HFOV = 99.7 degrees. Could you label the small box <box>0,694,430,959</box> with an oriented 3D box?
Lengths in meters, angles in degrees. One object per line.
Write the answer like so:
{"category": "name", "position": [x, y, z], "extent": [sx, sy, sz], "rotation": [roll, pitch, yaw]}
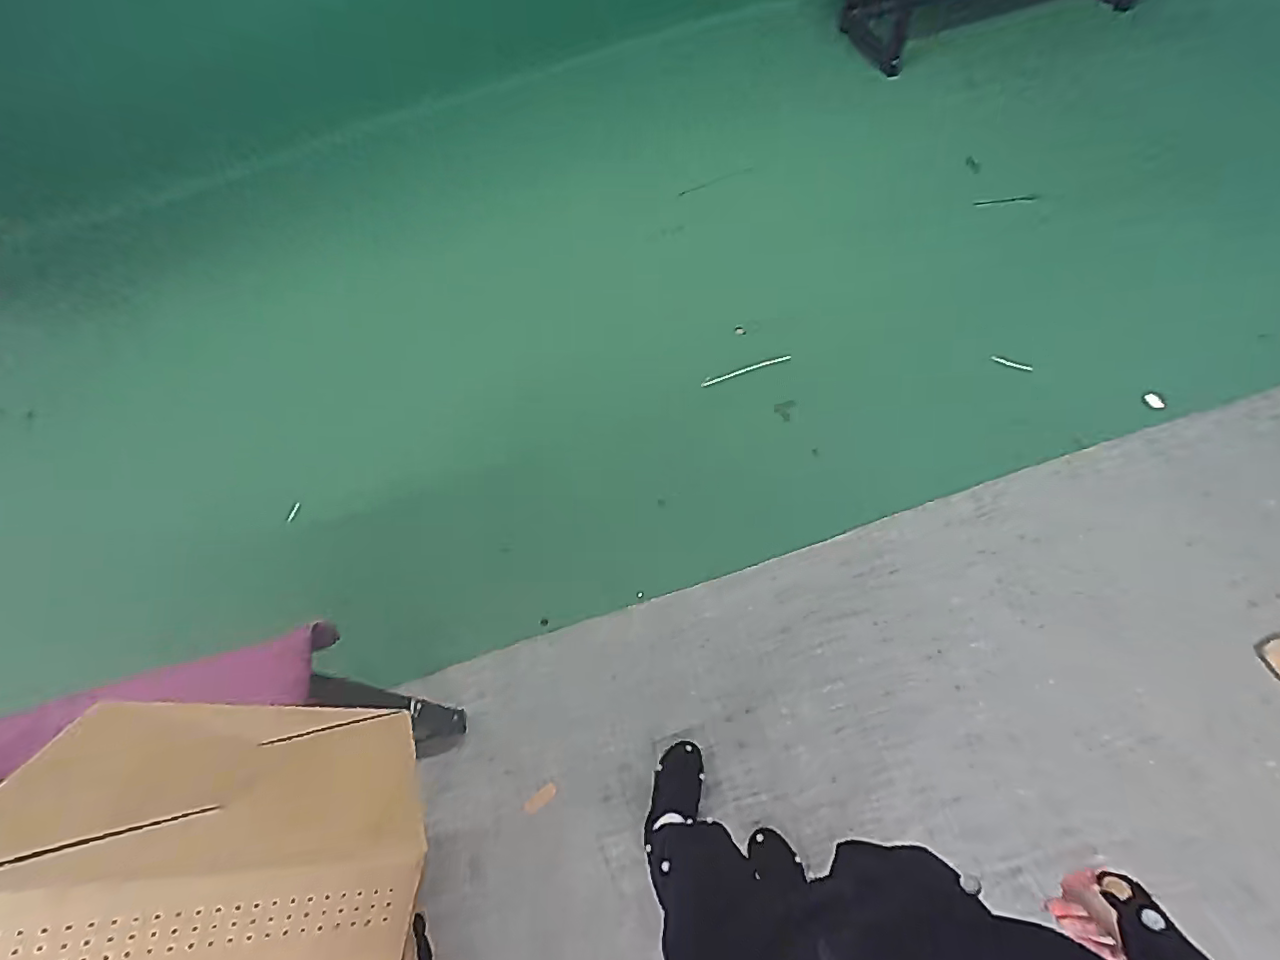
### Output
{"category": "small box", "position": [-0.218, 0.222, 0.275], "extent": [0.179, 0.168, 0.176], "rotation": [14, 85, -26]}
